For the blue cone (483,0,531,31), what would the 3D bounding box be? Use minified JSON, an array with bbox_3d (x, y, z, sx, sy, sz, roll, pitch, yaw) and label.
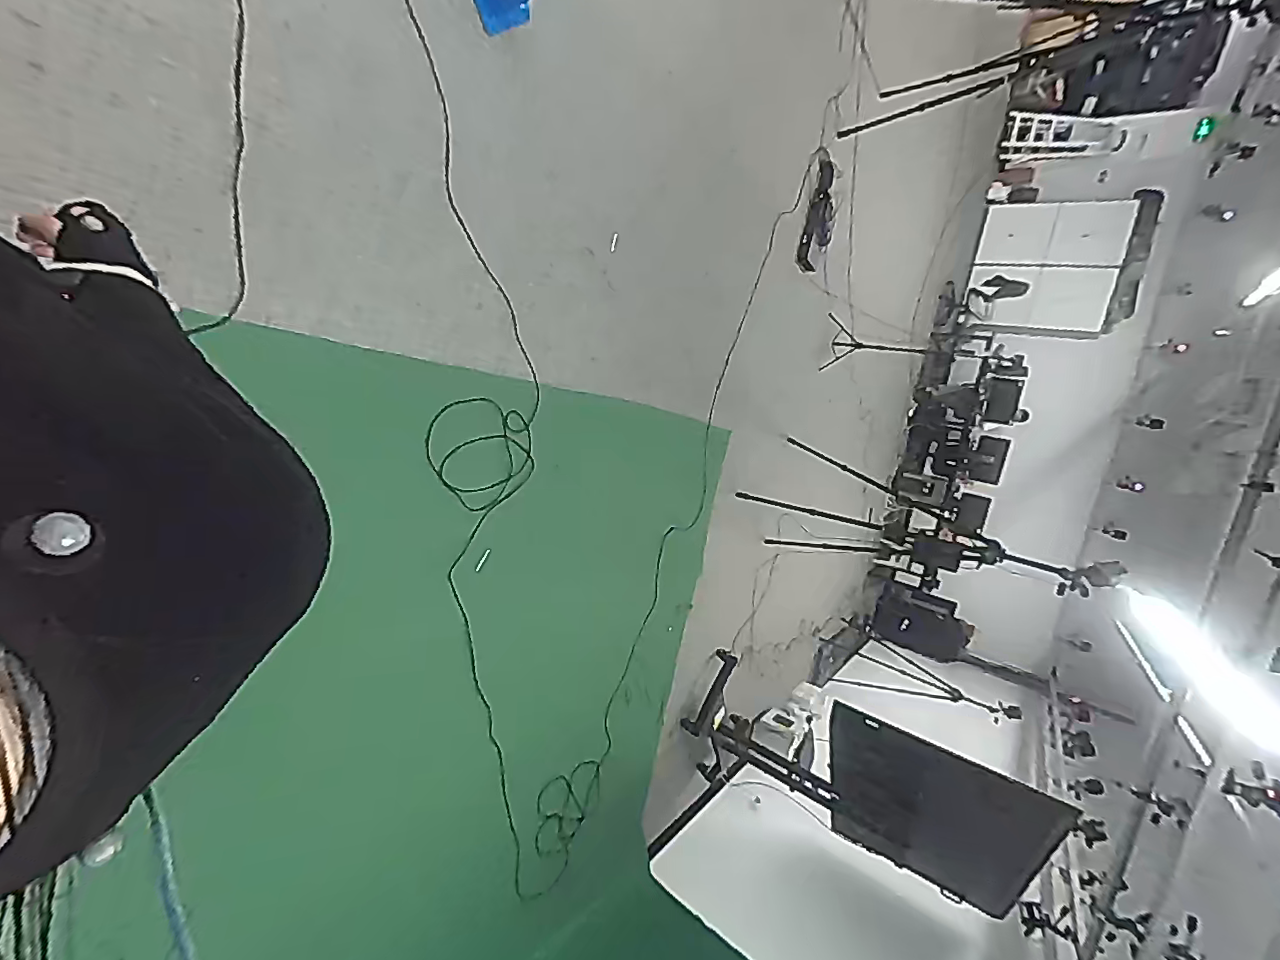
[{"bbox_3d":[-0.265,-1.383,1.443,0.193,0.380,0.192,-54,140,-30],"label":"blue cone"}]
